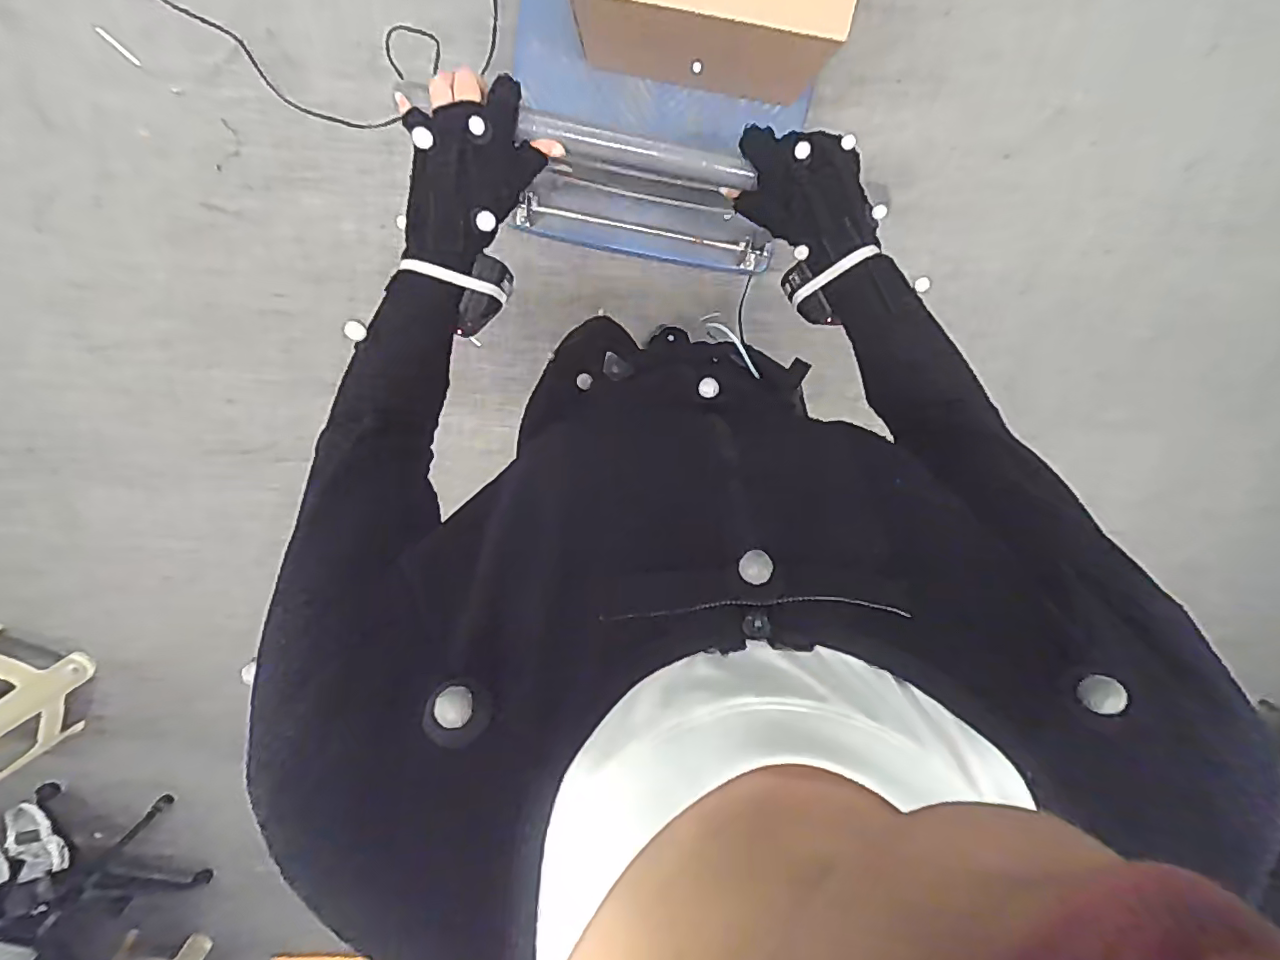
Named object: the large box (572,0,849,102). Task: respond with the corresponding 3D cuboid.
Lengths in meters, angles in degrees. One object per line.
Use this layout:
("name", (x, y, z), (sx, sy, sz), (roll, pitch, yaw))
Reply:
("large box", (0.122, -0.855, 0.868), (0.408, 0.320, 0.320), (9, 109, -2))
